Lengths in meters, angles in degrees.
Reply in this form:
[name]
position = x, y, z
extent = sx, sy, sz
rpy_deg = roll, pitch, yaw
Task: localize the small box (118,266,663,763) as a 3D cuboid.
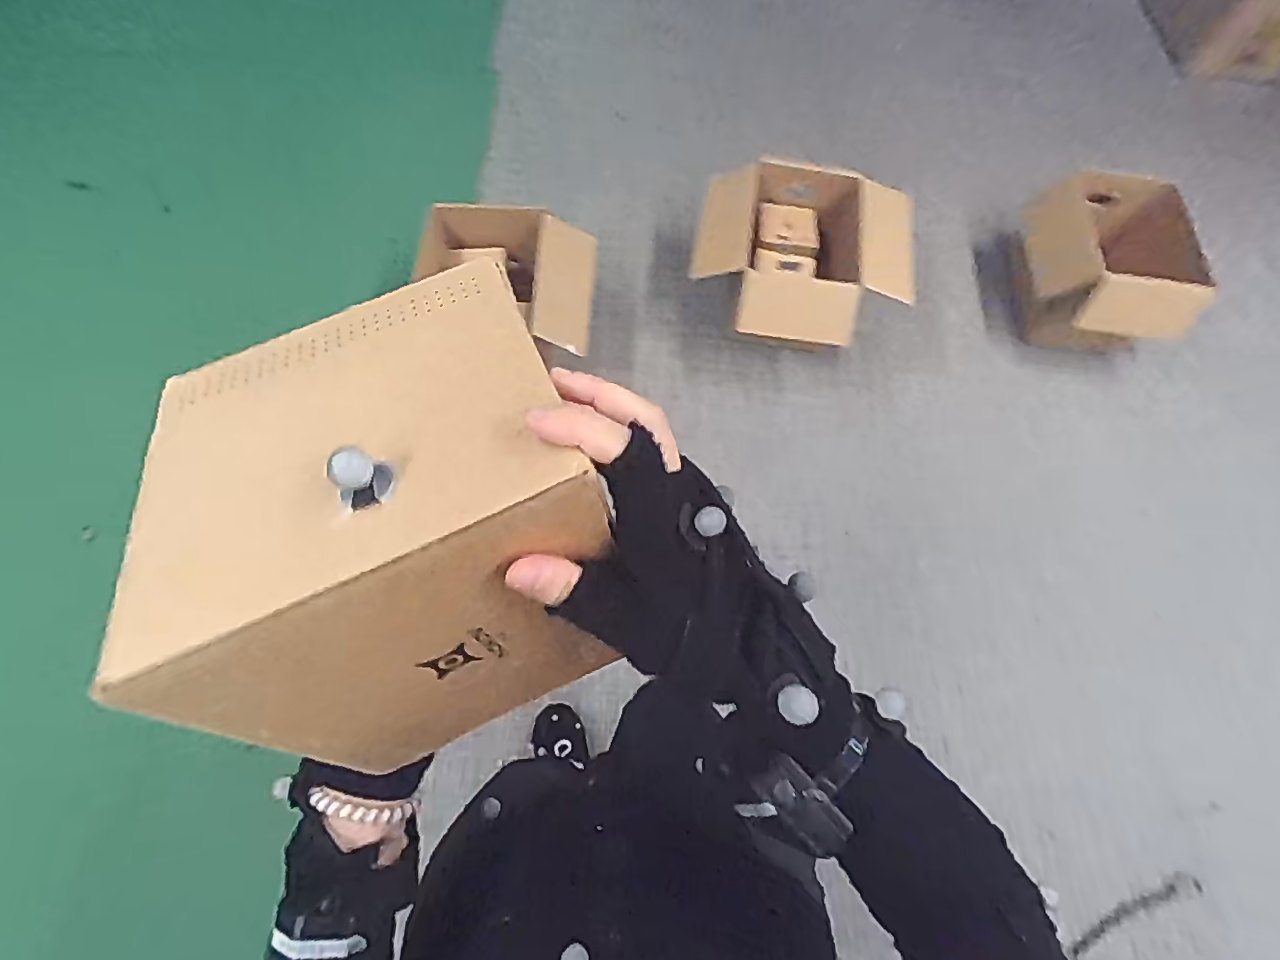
[small box]
position = -0.106, 0.016, 0.293
extent = 0.179, 0.168, 0.176
rpy_deg = -23, 52, -7
